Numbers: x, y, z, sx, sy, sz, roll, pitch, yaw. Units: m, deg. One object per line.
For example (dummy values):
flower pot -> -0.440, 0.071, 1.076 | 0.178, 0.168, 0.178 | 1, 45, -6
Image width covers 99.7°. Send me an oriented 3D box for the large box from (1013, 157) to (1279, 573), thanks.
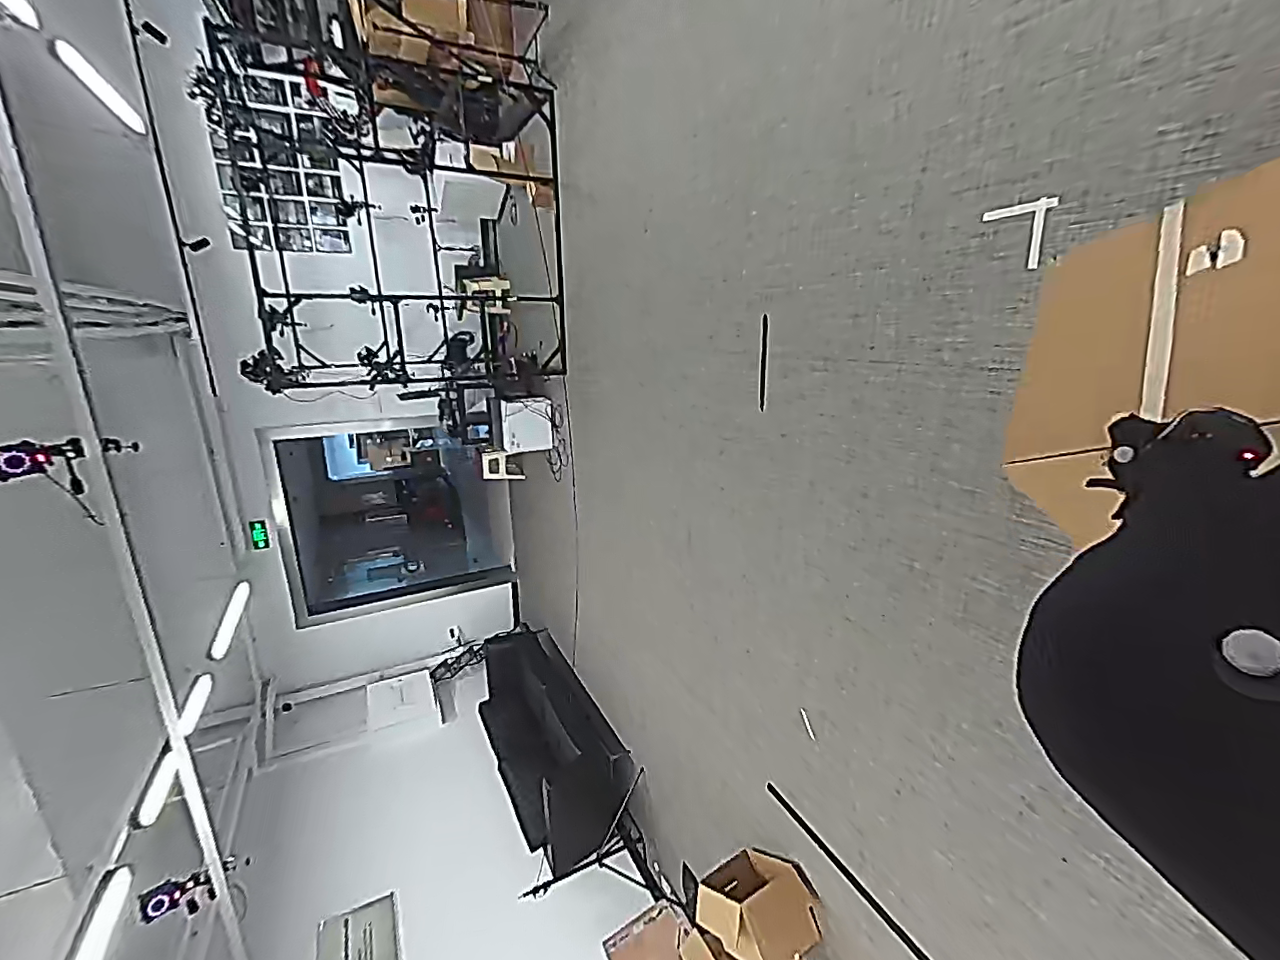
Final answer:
large box -> 0.757, -0.127, 0.699 | 0.320, 0.320, 0.408 | -15, 44, 60
